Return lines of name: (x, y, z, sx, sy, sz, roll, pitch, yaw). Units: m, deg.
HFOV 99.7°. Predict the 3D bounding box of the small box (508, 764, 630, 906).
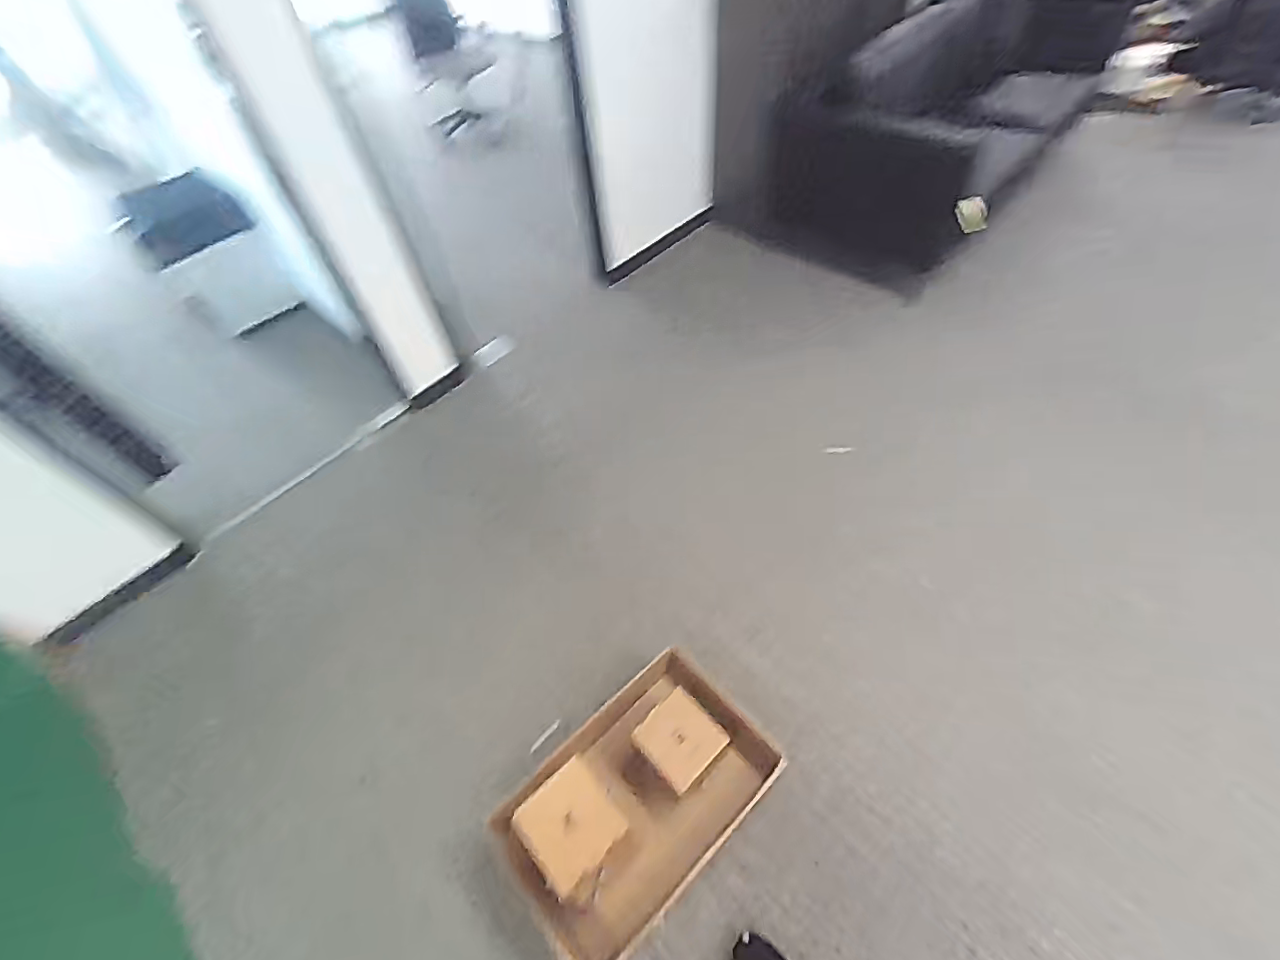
small box: (-0.138, 0.725, 1.100, 0.168, 0.176, 0.179, -36, 56, -23)
